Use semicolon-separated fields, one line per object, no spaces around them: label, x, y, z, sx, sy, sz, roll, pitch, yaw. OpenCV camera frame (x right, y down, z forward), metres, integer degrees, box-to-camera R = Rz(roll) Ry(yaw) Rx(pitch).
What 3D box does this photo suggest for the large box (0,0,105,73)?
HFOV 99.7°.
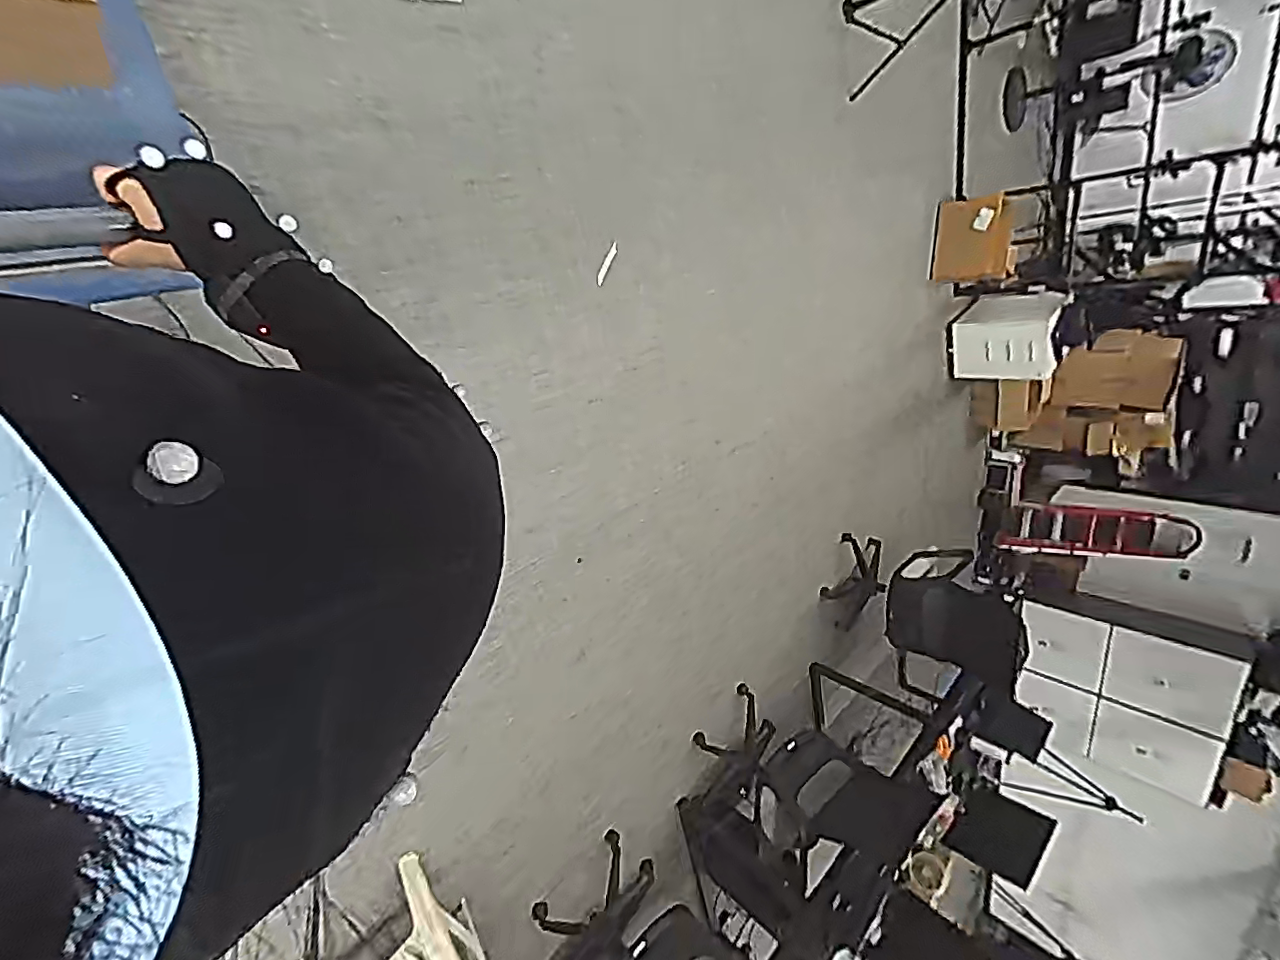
large box;-0.956;-0.708;0.618;0.408;0.320;0.320;-25;115;-35
